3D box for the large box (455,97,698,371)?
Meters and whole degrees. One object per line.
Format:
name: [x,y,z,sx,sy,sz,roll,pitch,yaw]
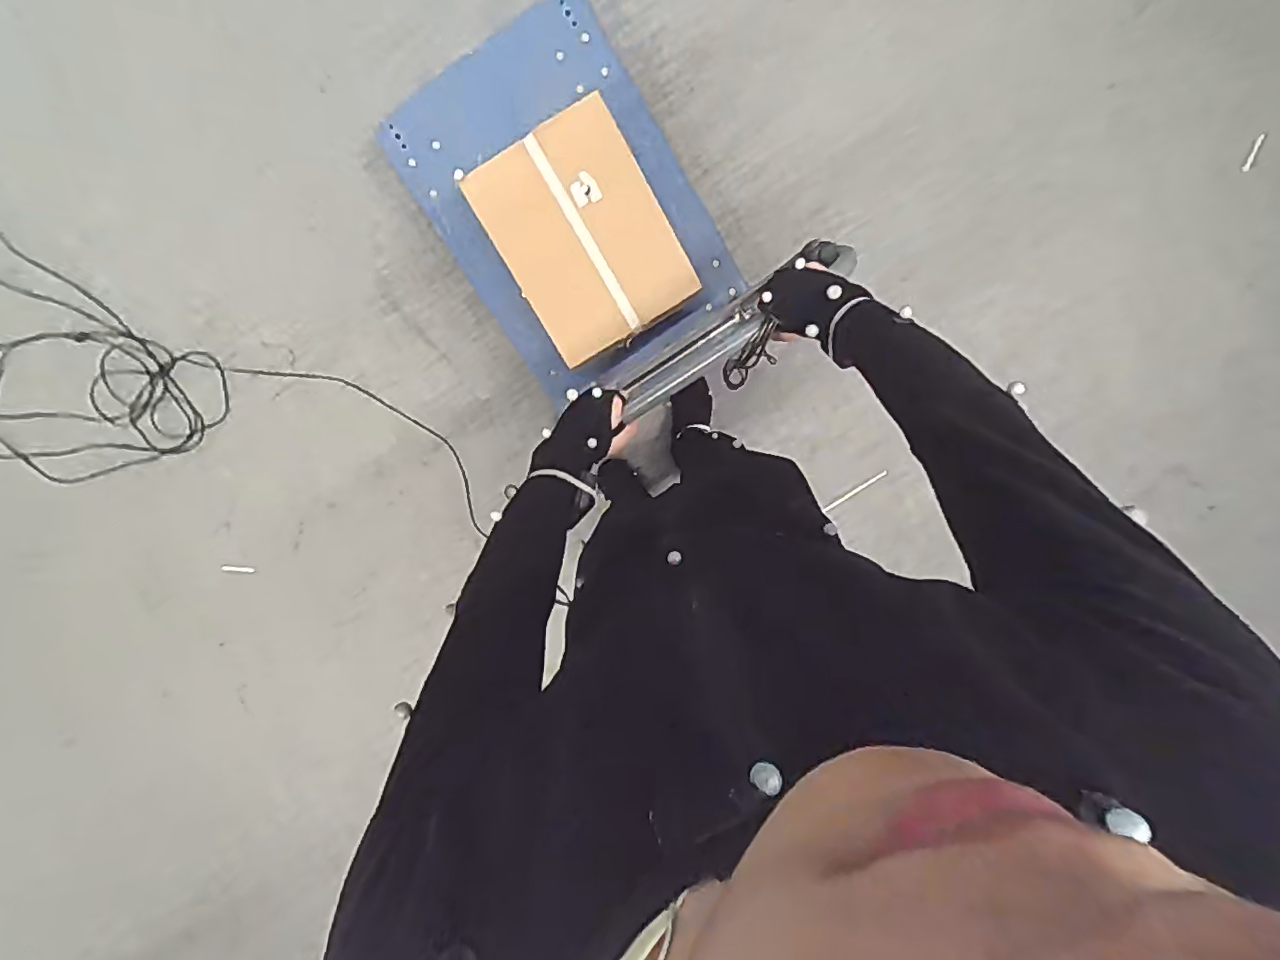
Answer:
large box: [-0.118,-0.488,1.176,0.320,0.320,0.408,-31,101,3]
